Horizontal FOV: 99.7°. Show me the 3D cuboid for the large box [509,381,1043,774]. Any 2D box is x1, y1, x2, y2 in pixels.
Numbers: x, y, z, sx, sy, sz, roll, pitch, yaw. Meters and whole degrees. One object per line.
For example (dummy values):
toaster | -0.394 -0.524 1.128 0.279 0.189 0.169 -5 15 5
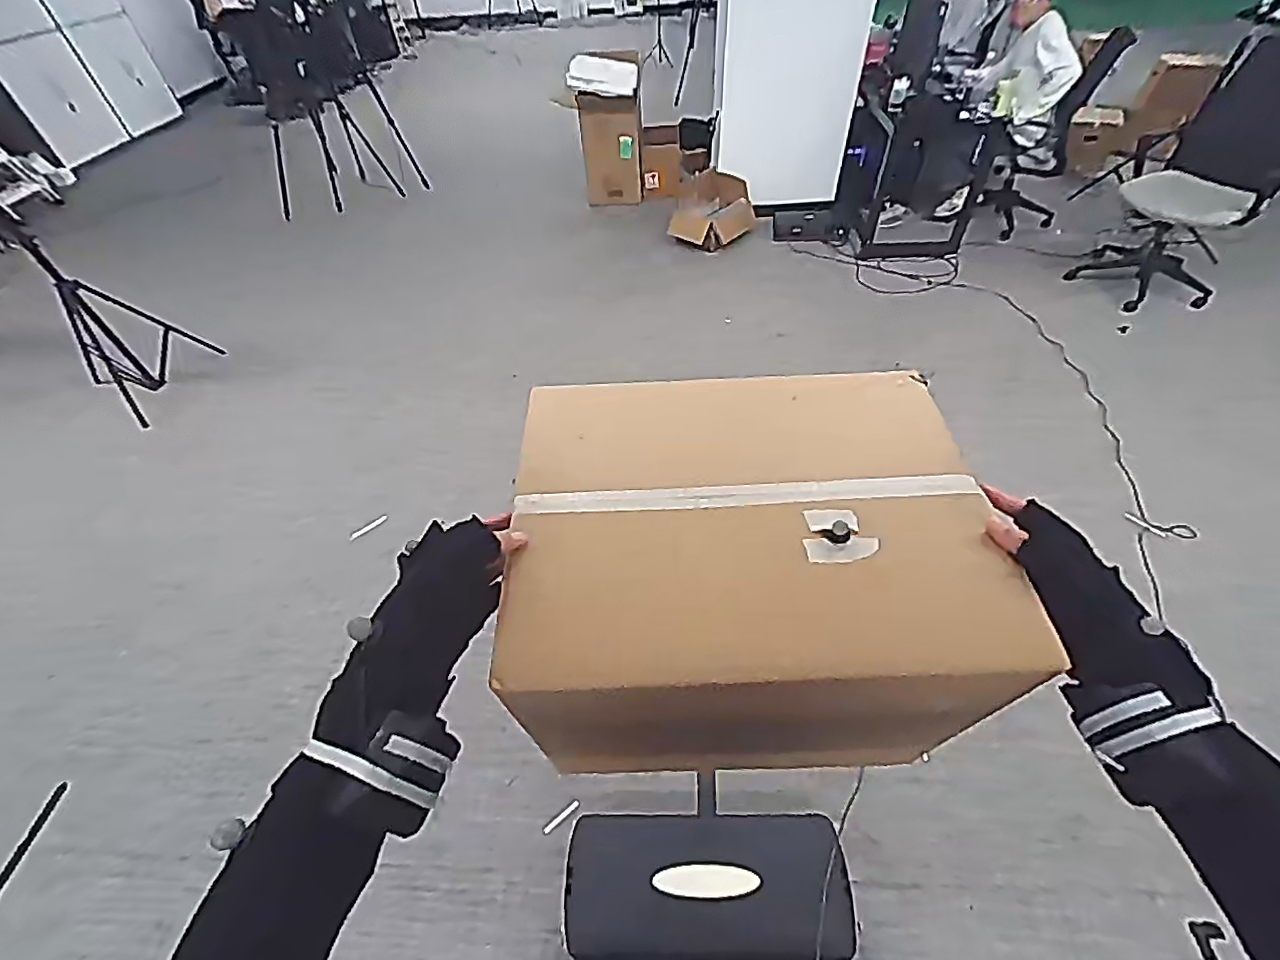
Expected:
large box | 0.096 0.116 0.601 0.408 0.320 0.320 -3 52 0
